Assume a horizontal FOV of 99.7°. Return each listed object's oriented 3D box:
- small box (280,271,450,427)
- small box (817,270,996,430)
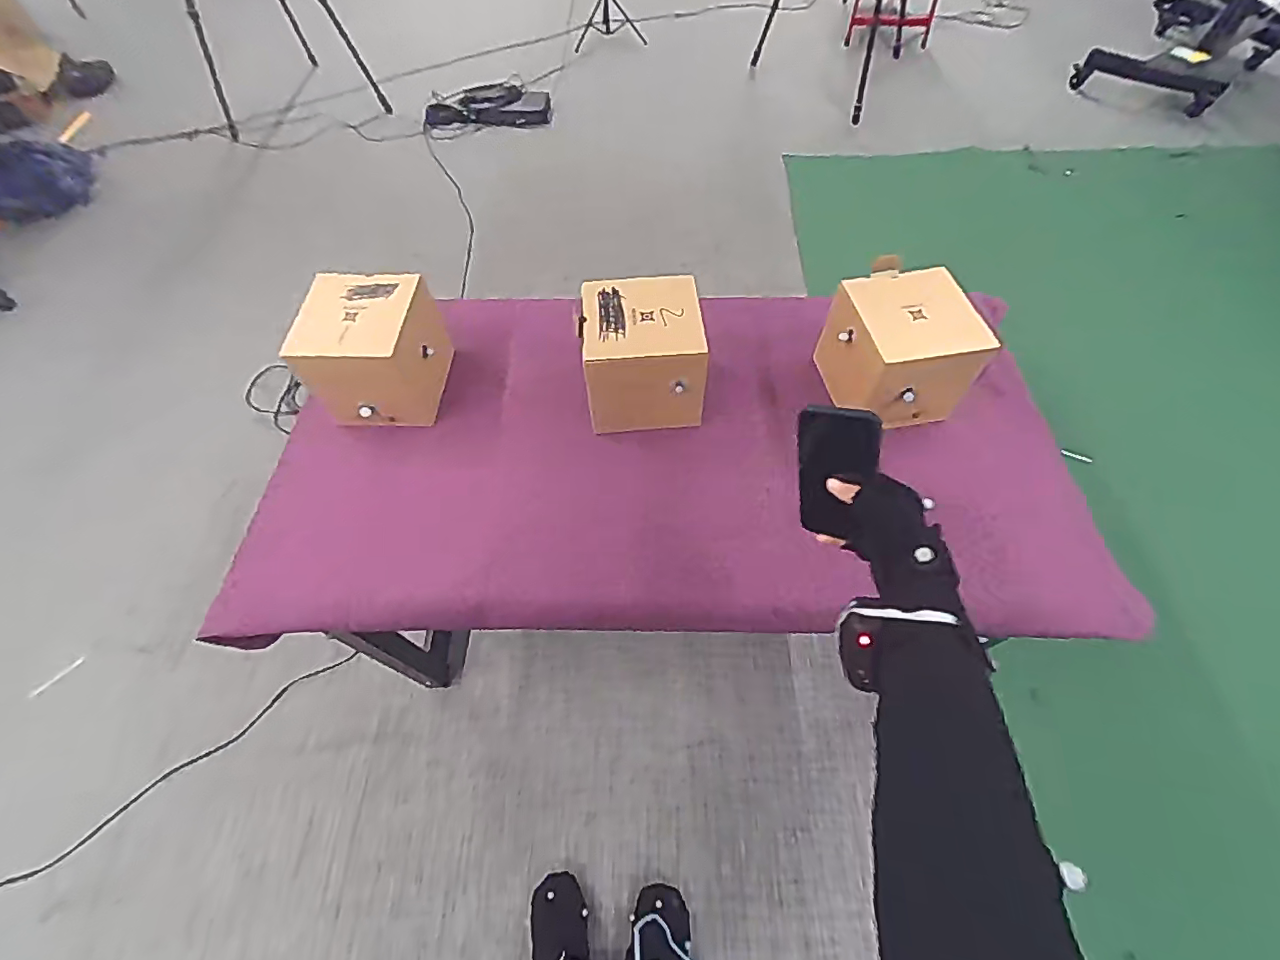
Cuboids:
[{"bbox_3d":[-0.419,-0.206,0.864,0.168,0.176,0.179,1,60,2],"label":"small box"},{"bbox_3d":[0.395,-0.192,0.838,0.168,0.176,0.179,-9,58,-3],"label":"small box"}]
